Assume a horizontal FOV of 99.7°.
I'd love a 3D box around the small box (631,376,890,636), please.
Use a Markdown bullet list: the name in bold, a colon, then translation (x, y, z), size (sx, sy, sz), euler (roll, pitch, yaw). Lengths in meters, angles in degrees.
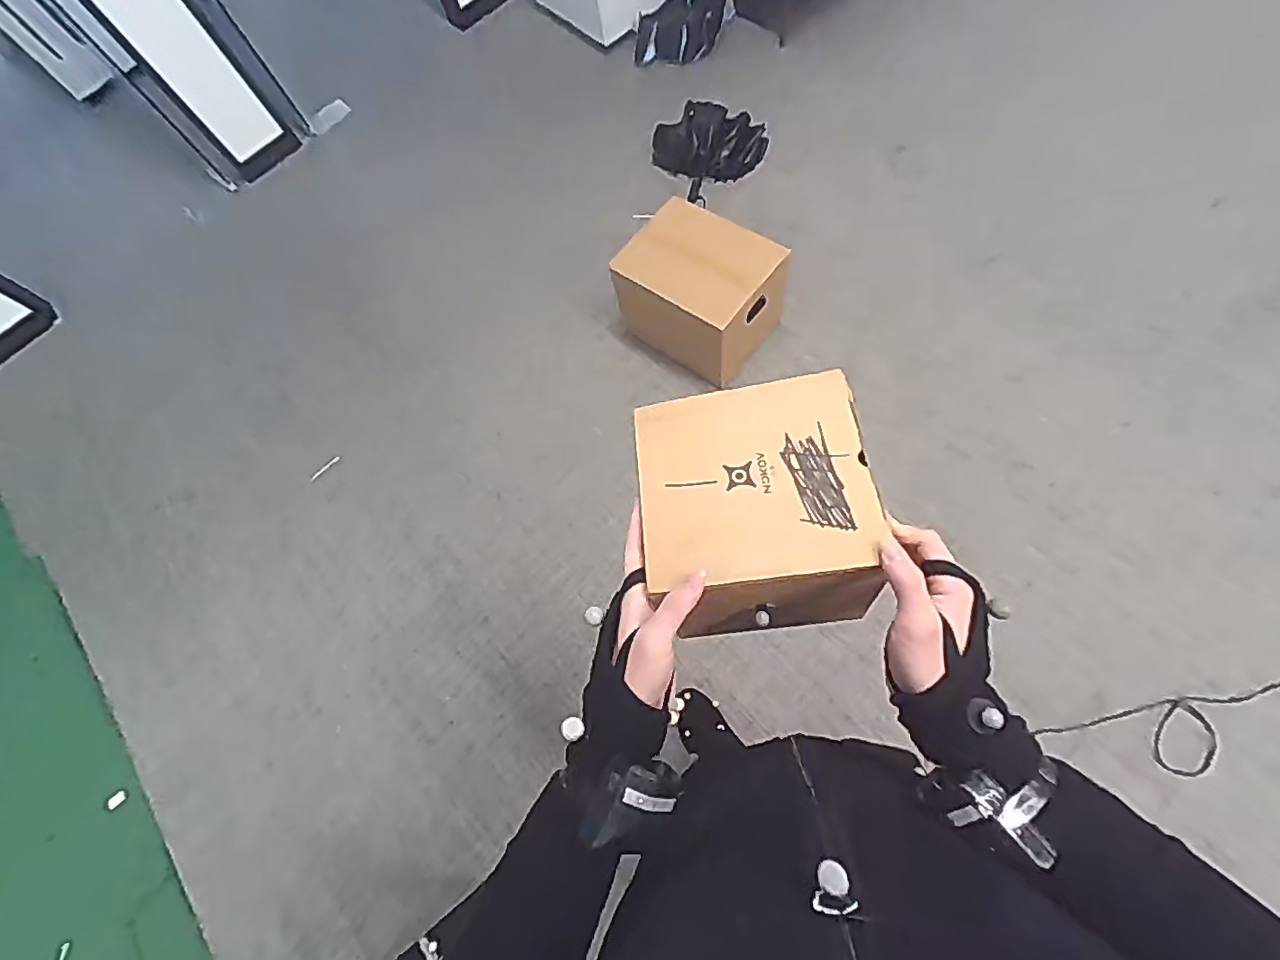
- **small box**: translation (0.097, 0.035, 0.484), size (0.179, 0.176, 0.168), euler (-9, 61, 9)
